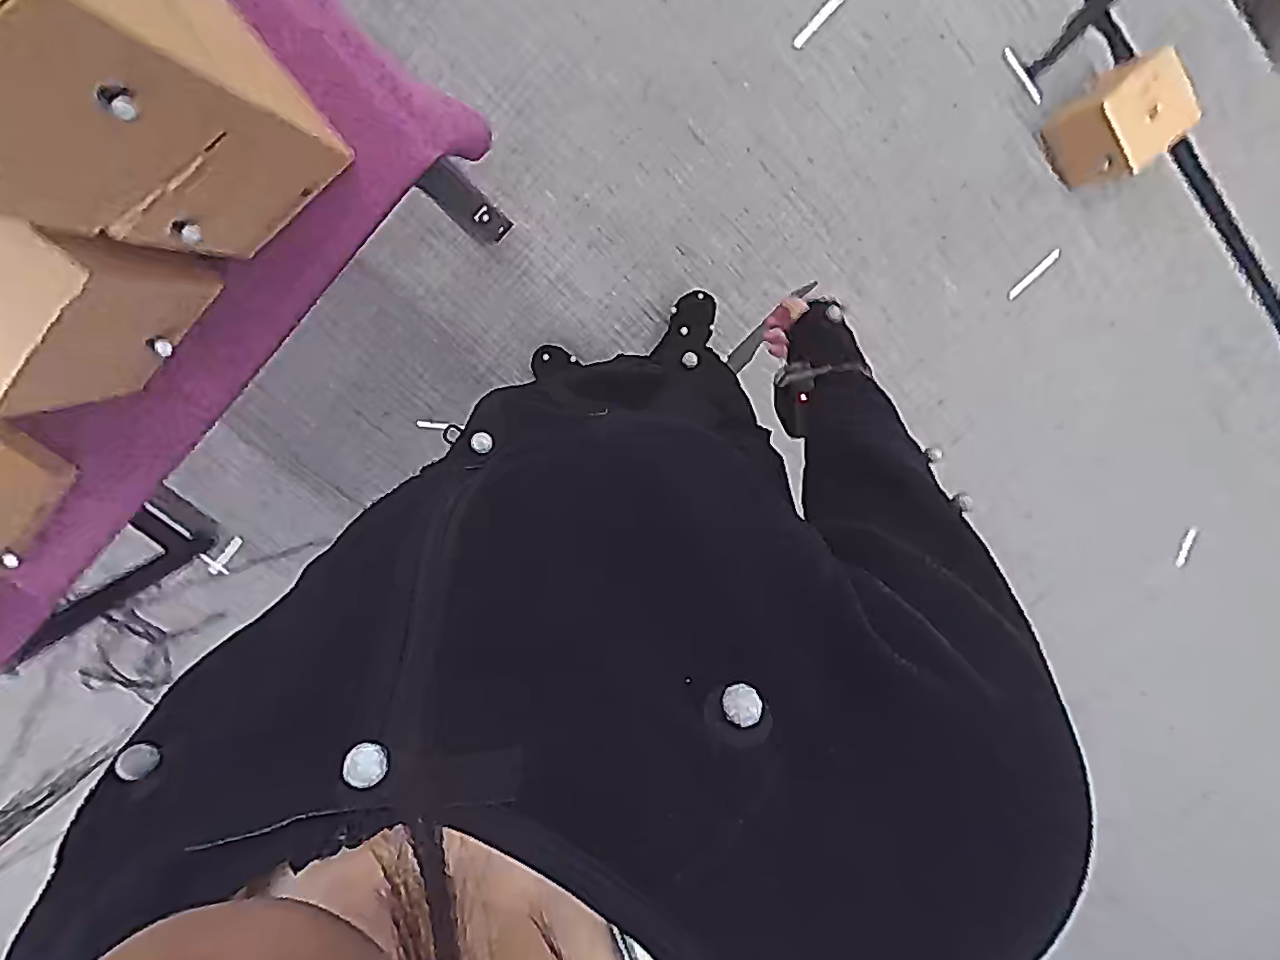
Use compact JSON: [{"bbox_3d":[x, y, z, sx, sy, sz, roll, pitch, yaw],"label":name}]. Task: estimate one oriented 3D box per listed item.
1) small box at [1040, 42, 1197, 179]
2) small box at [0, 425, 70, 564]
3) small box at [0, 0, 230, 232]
[{"bbox_3d":[1.053,-0.803,1.203,0.168,0.176,0.179,-41,106,8],"label":"small box"},{"bbox_3d":[-0.775,0.019,0.558,0.179,0.176,0.168,41,100,-14],"label":"small box"},{"bbox_3d":[-0.399,-0.278,0.320,0.179,0.176,0.168,-32,105,8],"label":"small box"}]
